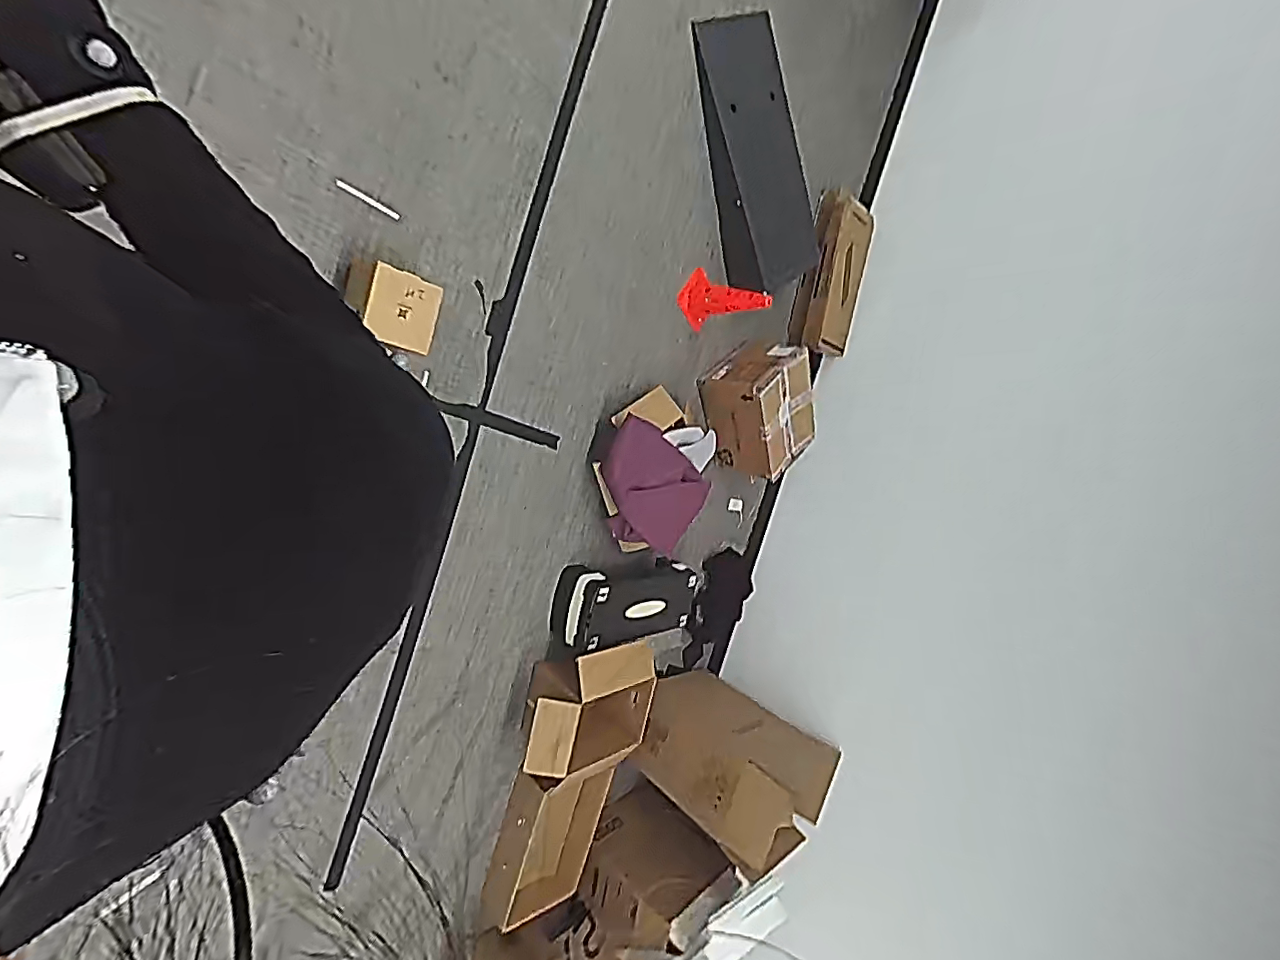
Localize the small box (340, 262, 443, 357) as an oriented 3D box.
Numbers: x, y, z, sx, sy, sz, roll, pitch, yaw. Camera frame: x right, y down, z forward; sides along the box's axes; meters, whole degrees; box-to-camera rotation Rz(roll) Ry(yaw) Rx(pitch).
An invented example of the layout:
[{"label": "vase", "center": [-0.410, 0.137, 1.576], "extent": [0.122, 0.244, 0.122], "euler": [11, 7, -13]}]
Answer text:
[{"label": "small box", "center": [-0.624, -0.423, 1.349], "extent": [0.168, 0.176, 0.179], "euler": [12, 95, -49]}]
